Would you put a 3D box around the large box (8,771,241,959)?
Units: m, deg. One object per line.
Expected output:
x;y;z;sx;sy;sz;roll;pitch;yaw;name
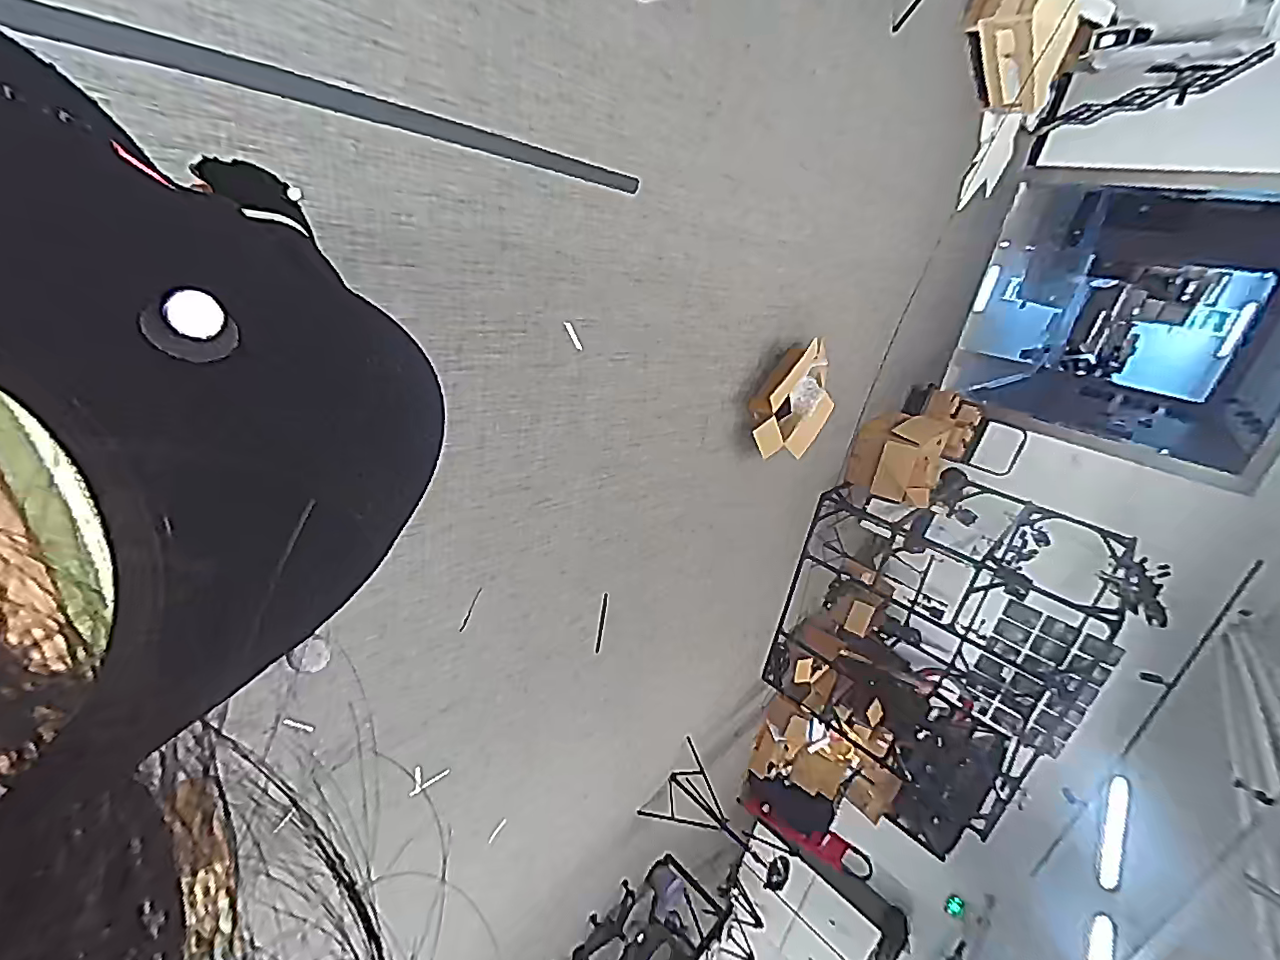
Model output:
-1.330;1.070;1.417;0.408;0.320;0.320;-7;117;-50;large box
